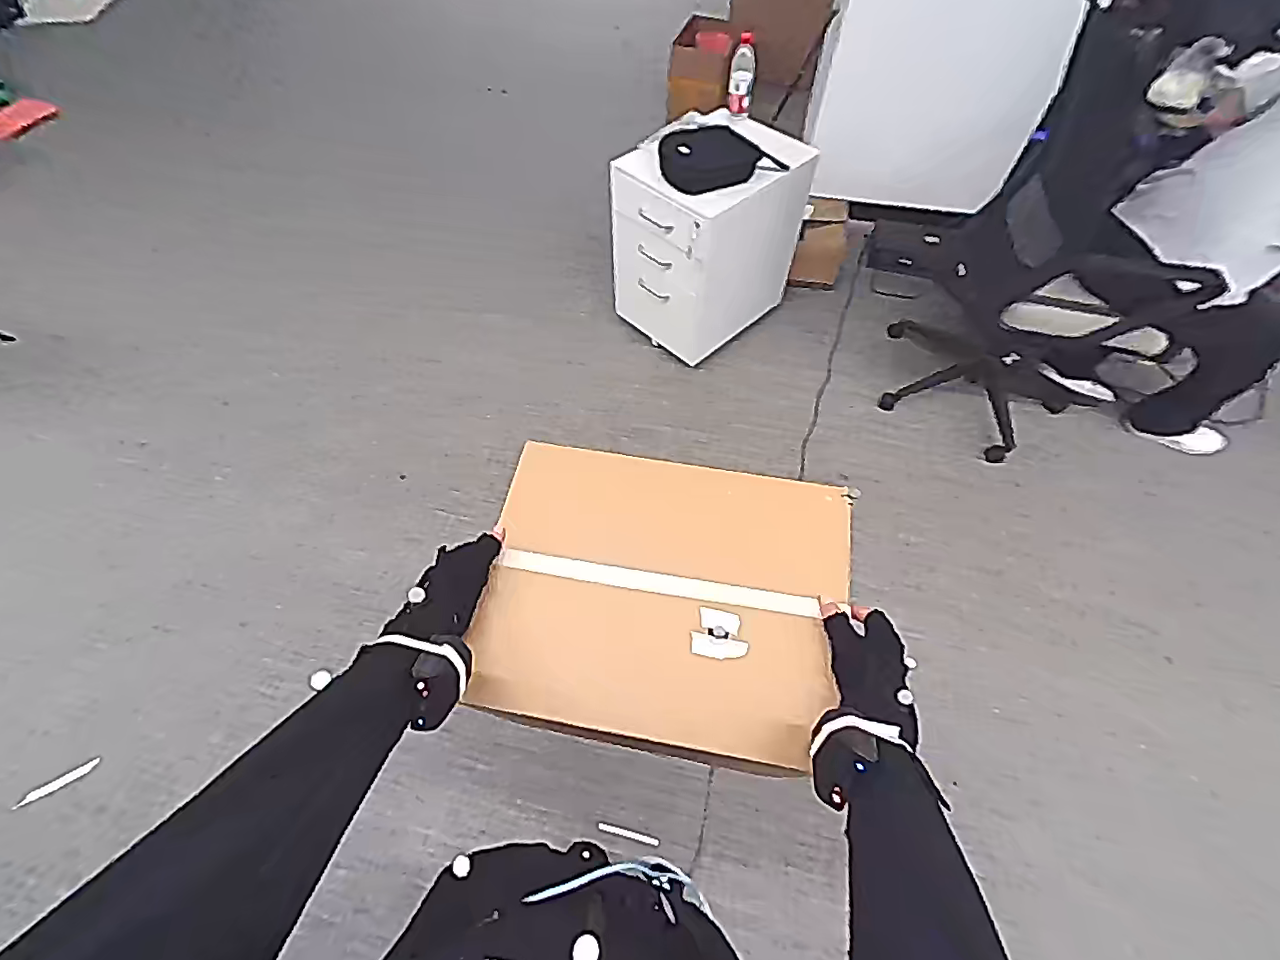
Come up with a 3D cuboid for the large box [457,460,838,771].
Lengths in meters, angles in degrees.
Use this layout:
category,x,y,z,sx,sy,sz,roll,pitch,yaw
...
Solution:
category,x,y,z,sx,sy,sz,roll,pitch,yaw
large box,0.023,0.200,0.751,0.408,0.320,0.320,8,63,4
